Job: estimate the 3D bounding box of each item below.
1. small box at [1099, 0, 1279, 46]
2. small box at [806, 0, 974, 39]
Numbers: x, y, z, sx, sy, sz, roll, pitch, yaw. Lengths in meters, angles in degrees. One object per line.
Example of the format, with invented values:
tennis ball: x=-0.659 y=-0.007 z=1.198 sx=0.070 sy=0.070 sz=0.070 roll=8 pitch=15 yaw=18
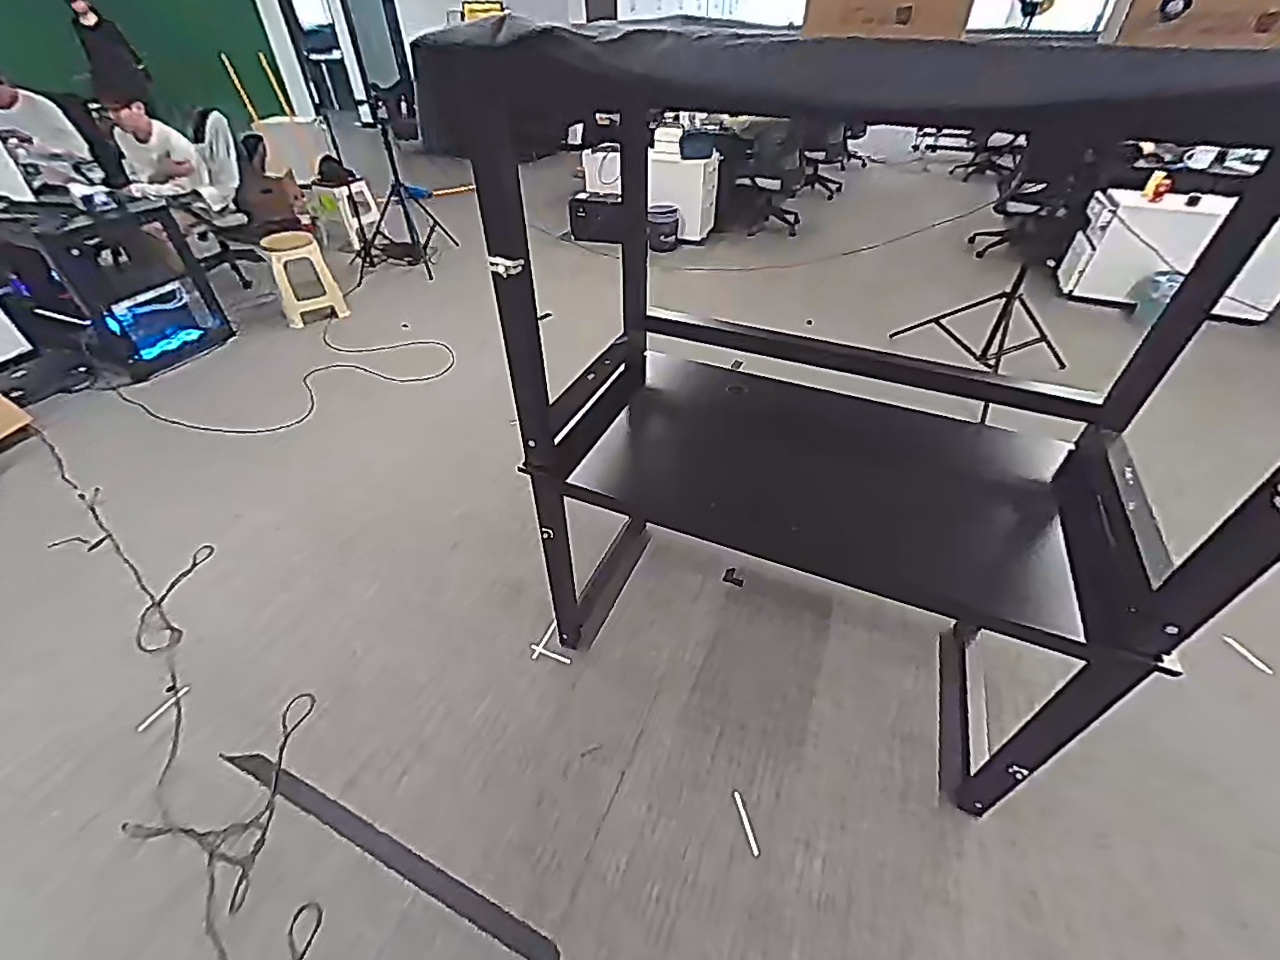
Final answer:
small box: x=0.563 y=-0.507 z=0.492 sx=0.168 sy=0.176 sz=0.179 roll=19 pitch=43 yaw=21
small box: x=0.288 y=-0.586 z=0.578 sx=0.168 sy=0.176 sz=0.179 roll=17 pitch=42 yaw=19
